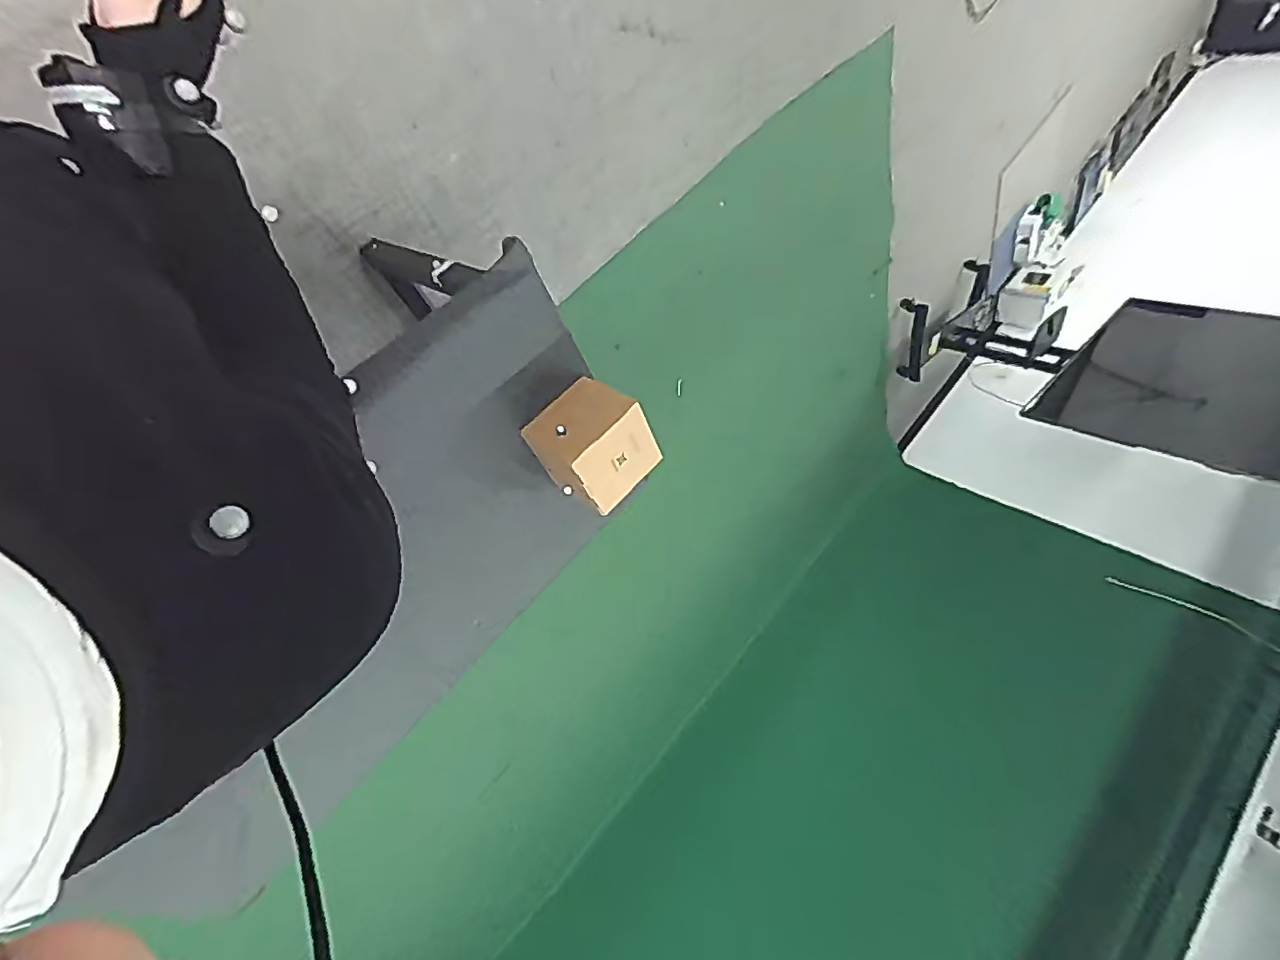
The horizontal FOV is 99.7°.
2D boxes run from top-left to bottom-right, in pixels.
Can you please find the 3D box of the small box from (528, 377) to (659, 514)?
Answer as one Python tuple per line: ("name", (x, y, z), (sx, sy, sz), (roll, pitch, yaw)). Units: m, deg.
("small box", (-0.095, -0.072, 1.062), (0.179, 0.176, 0.168), (-44, 141, -18))
